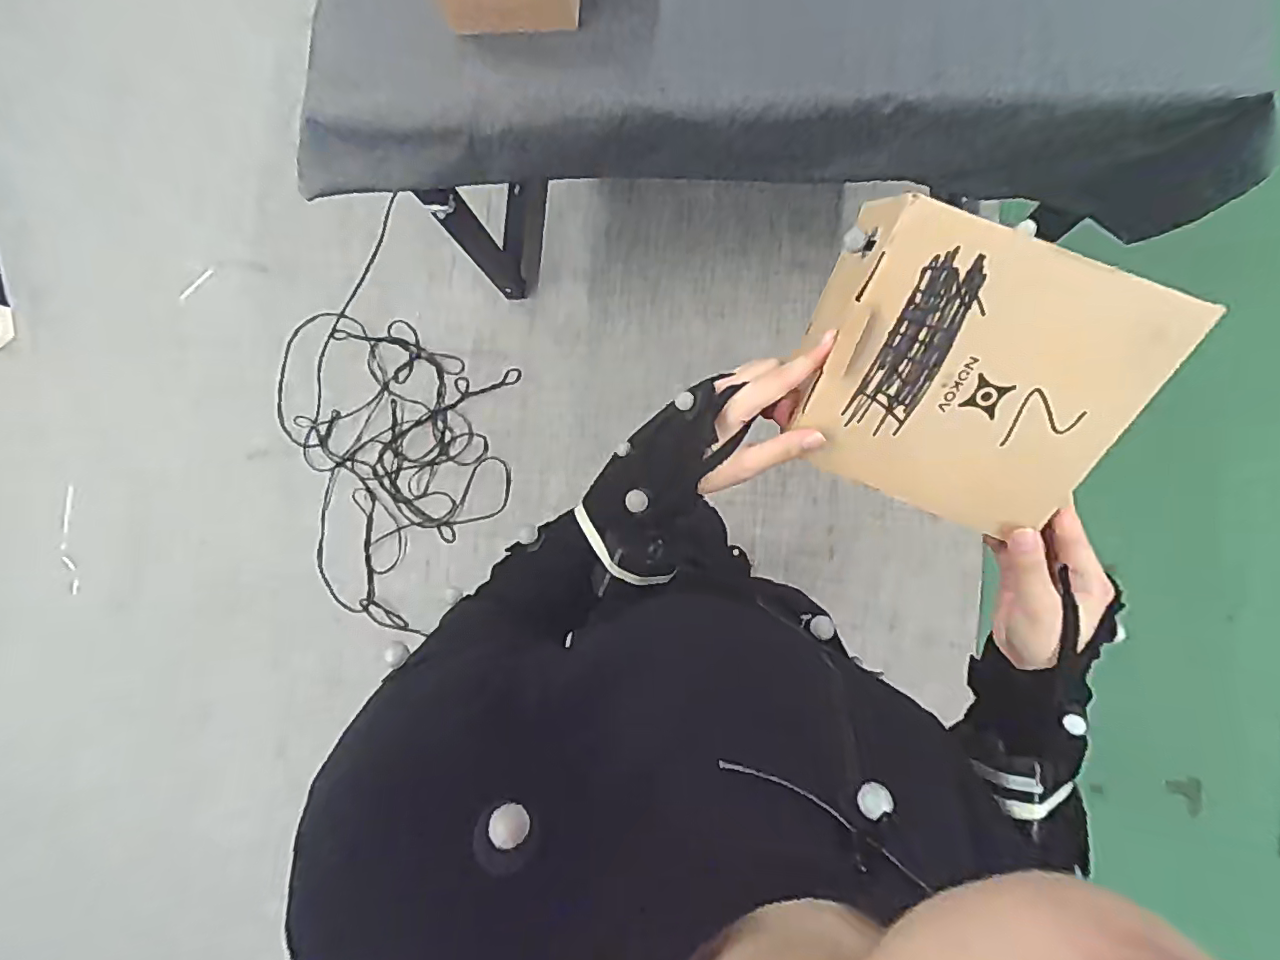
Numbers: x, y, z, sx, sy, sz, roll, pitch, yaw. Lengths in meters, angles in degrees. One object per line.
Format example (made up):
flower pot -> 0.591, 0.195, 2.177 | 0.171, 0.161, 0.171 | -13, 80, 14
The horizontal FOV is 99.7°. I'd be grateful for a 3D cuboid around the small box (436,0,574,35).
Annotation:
small box -> -0.174, -0.686, 0.652 | 0.179, 0.176, 0.168 | 3, 84, 7
